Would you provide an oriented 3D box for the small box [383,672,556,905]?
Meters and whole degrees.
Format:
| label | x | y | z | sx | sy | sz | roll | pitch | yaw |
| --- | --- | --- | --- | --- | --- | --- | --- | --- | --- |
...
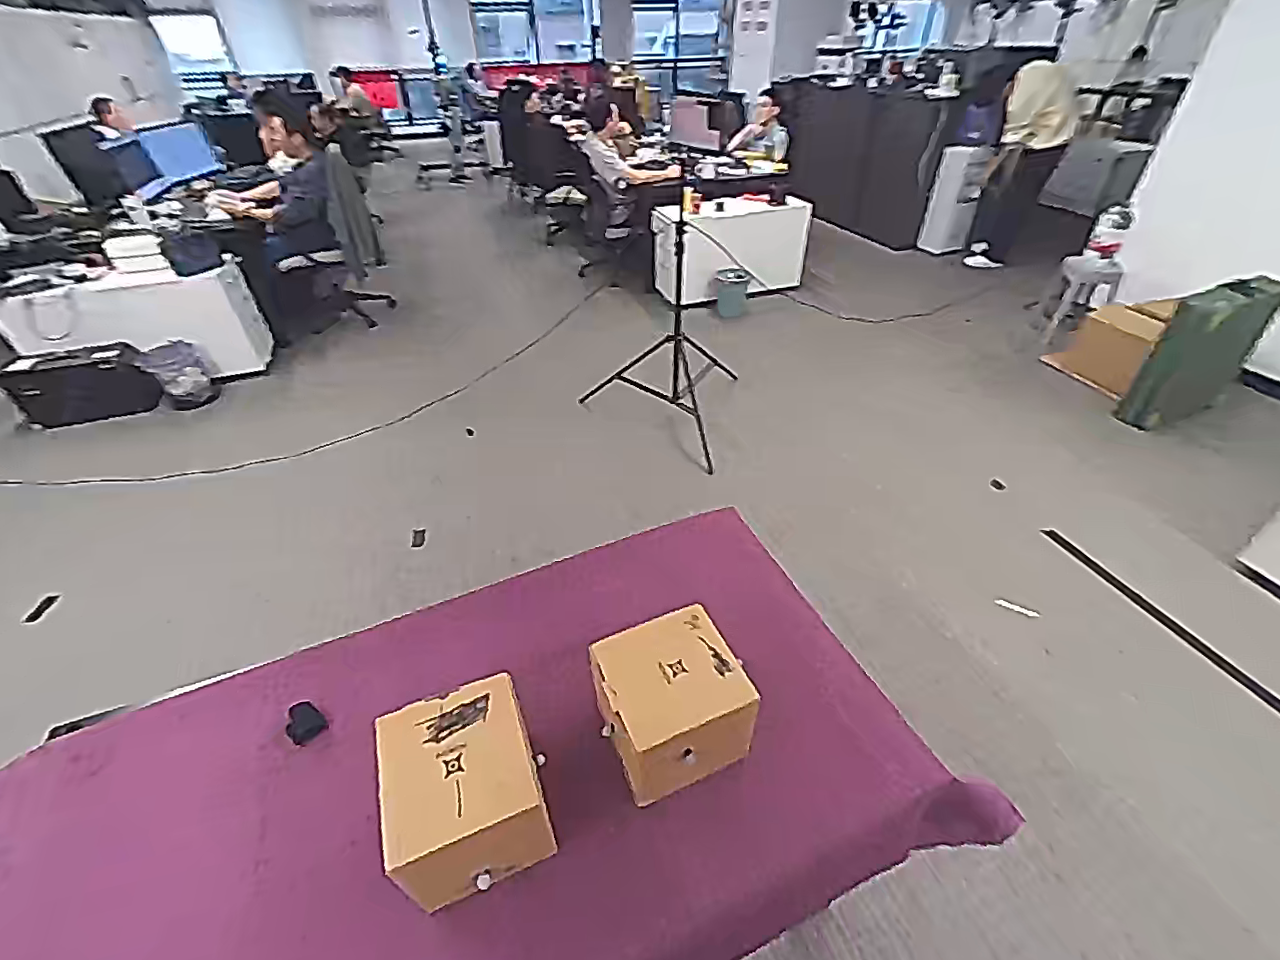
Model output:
| label | x | y | z | sx | sy | sz | roll | pitch | yaw |
| --- | --- | --- | --- | --- | --- | --- | --- | --- | --- |
| small box | -0.213 | 0.387 | 0.685 | 0.168 | 0.176 | 0.179 | -16 | 42 | -17 |

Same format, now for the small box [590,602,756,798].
| label | x | y | z | sx | sy | sz | roll | pitch | yaw |
| --- | --- | --- | --- | --- | --- | --- | --- | --- | --- |
| small box | 0.044 | 0.312 | 0.769 | 0.179 | 0.176 | 0.168 | -17 | 41 | -17 |
